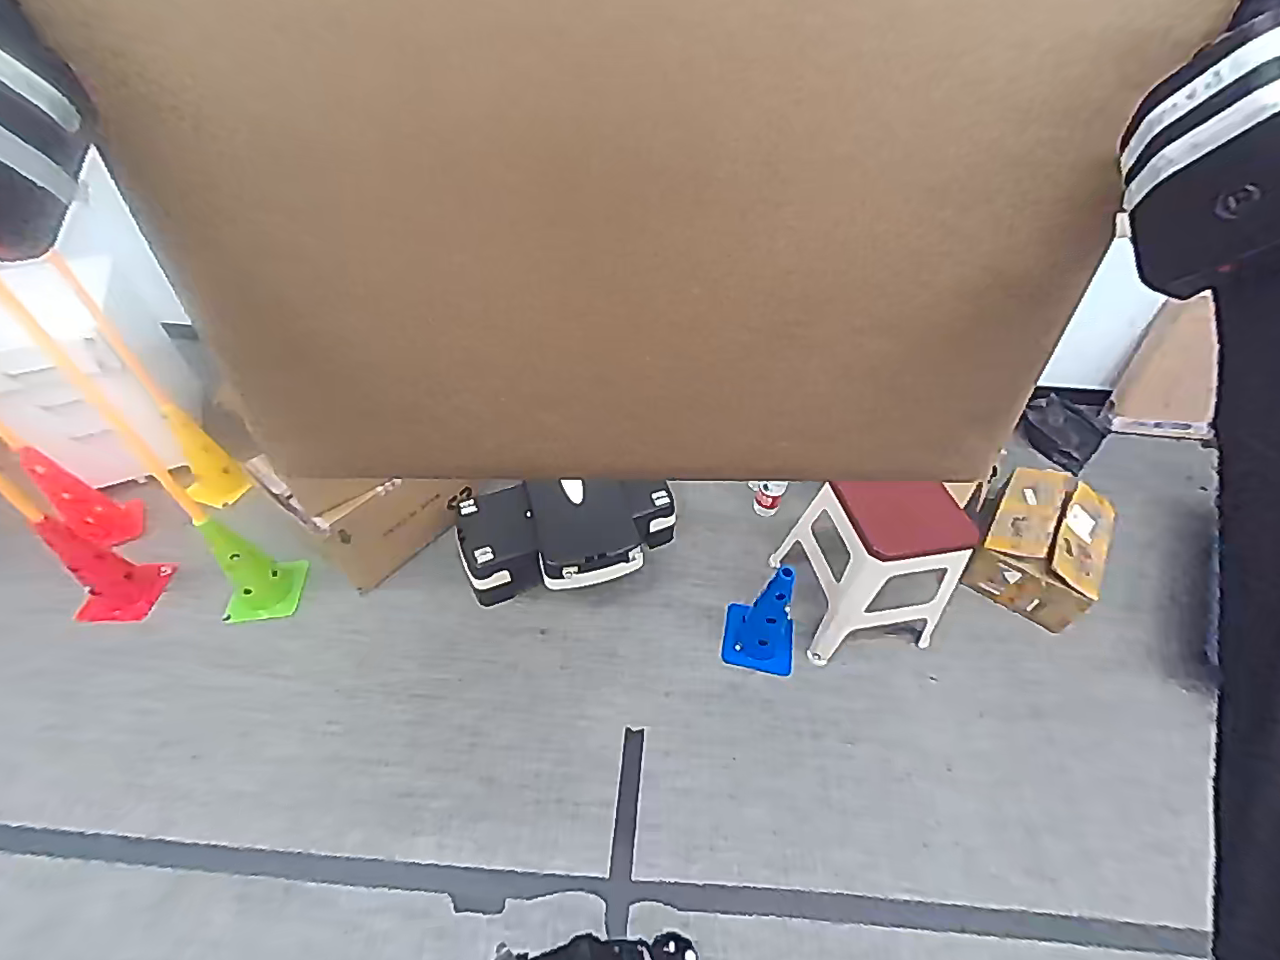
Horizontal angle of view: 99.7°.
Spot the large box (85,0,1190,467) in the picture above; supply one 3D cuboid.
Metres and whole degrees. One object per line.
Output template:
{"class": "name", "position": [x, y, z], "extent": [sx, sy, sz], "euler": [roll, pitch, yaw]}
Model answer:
{"class": "large box", "position": [-0.003, -0.216, 0.341], "extent": [0.408, 0.320, 0.320], "euler": [1, 39, -1]}
